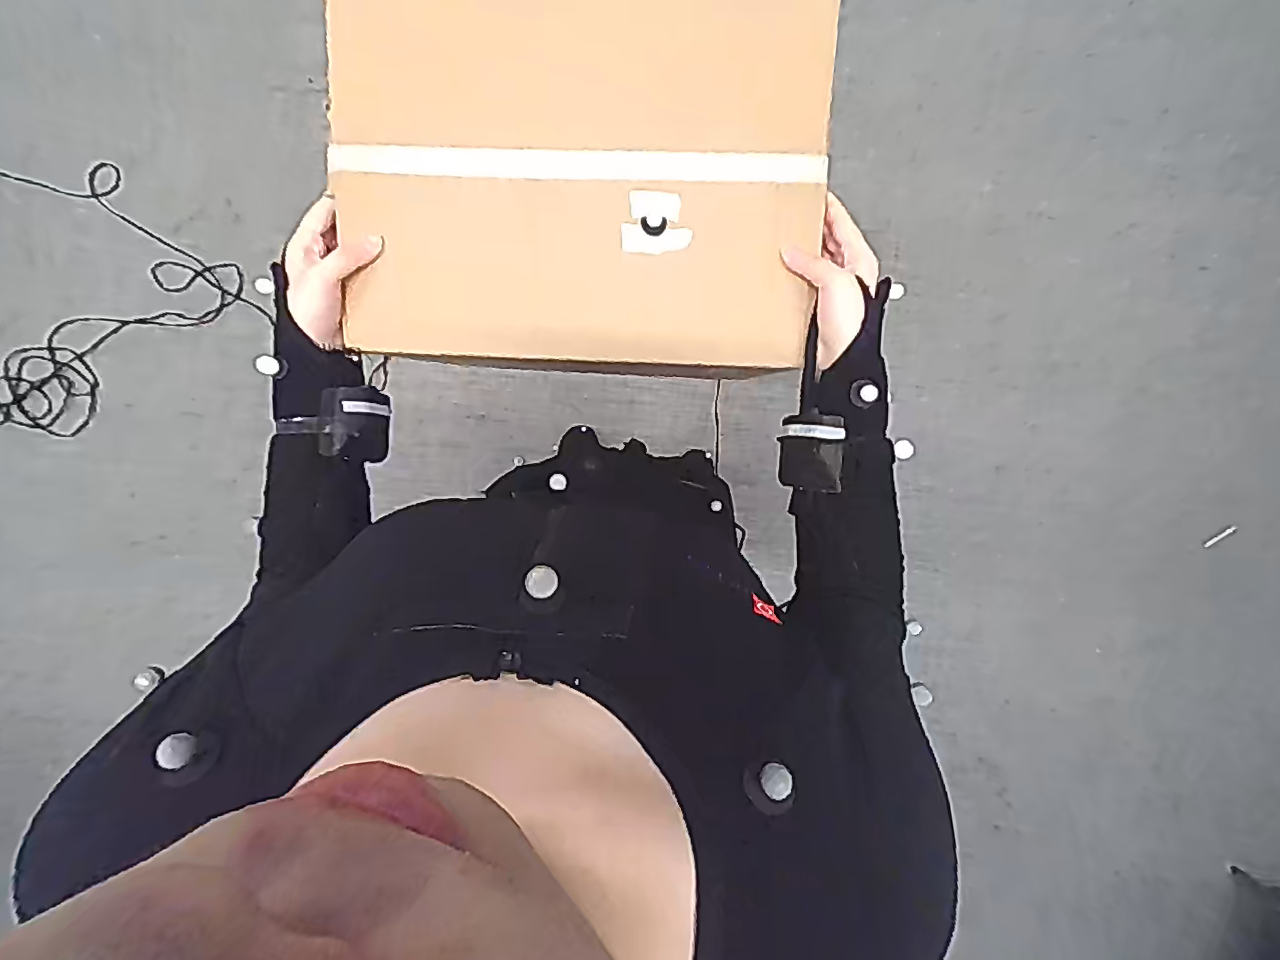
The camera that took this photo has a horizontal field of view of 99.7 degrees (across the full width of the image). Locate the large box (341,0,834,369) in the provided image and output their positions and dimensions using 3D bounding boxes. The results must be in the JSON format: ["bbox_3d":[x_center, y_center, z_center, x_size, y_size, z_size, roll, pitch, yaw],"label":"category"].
[{"bbox_3d":[-0.046,-0.289,0.598,0.408,0.320,0.320,2,100,1],"label":"large box"}]
